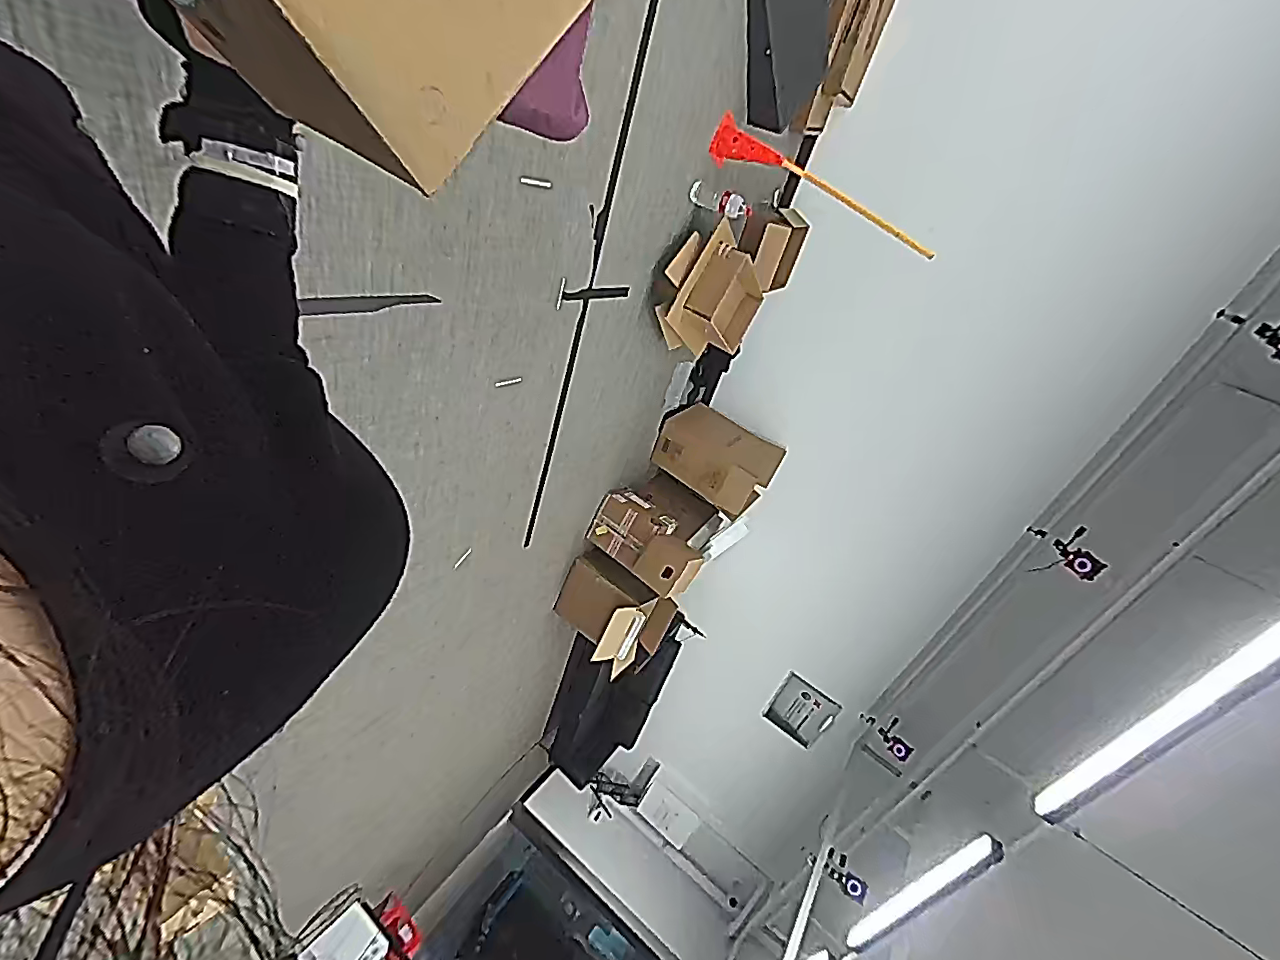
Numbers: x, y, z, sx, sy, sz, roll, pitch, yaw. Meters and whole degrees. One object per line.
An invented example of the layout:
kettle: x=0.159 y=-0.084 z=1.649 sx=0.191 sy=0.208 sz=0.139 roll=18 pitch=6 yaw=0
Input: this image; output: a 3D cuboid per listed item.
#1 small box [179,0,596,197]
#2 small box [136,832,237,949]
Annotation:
small box: x=-0.157 y=-0.300 z=0.285 sx=0.179 sy=0.176 sz=0.168 roll=-55 pitch=160 yaw=-5
small box: x=-1.255 y=1.126 z=1.501 sx=0.168 sy=0.176 sz=0.179 roll=-25 pitch=142 yaw=-55
